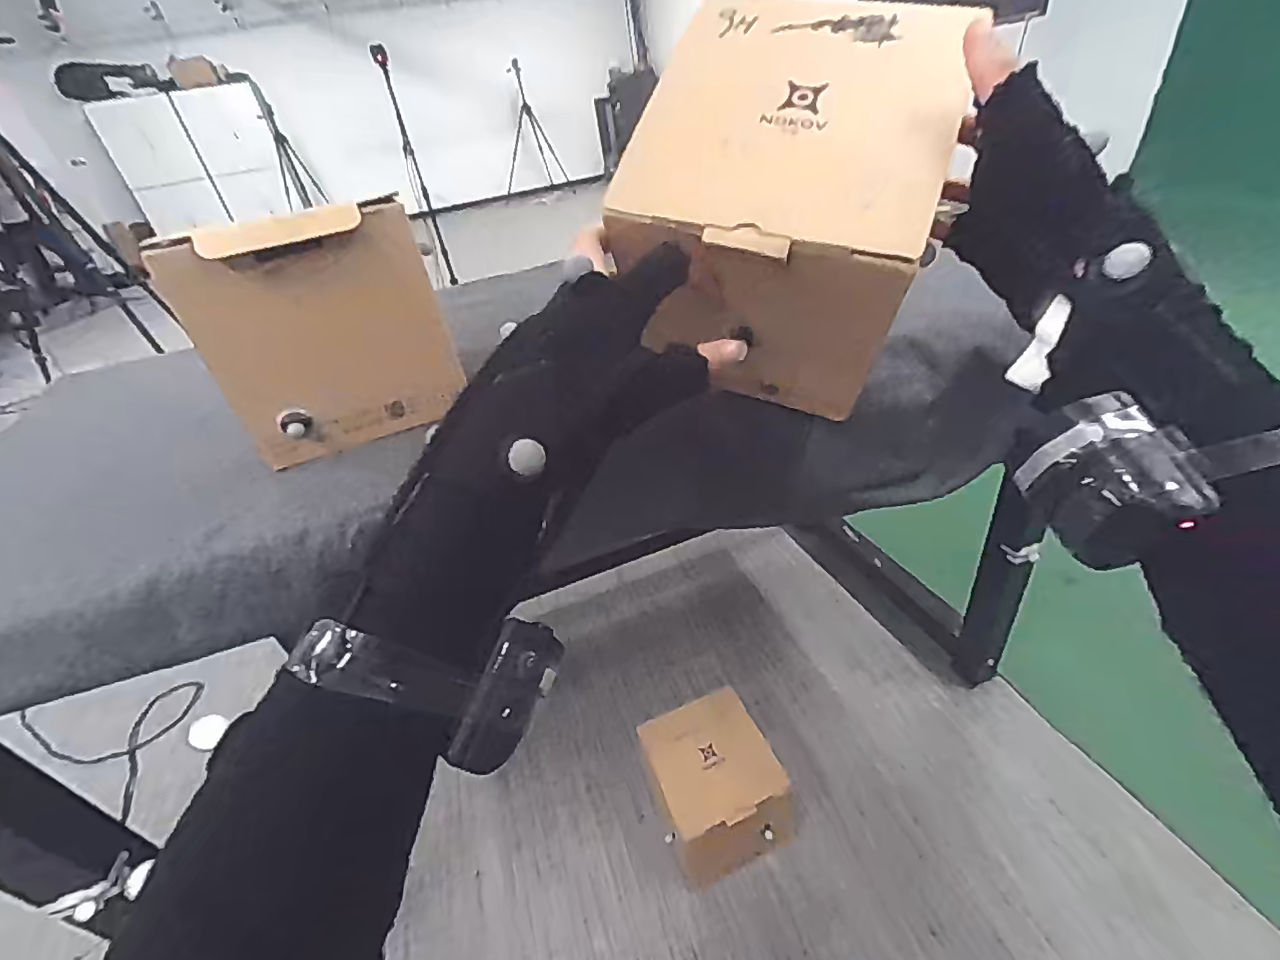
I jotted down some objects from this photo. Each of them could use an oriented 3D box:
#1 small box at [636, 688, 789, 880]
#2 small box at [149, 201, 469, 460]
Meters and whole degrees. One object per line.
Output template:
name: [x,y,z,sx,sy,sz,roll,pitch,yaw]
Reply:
small box: [0.110,0.461,0.817,0.168,0.176,0.179,-19,33,-14]
small box: [-0.264,-0.134,0.478,0.168,0.176,0.179,-21,33,-16]
